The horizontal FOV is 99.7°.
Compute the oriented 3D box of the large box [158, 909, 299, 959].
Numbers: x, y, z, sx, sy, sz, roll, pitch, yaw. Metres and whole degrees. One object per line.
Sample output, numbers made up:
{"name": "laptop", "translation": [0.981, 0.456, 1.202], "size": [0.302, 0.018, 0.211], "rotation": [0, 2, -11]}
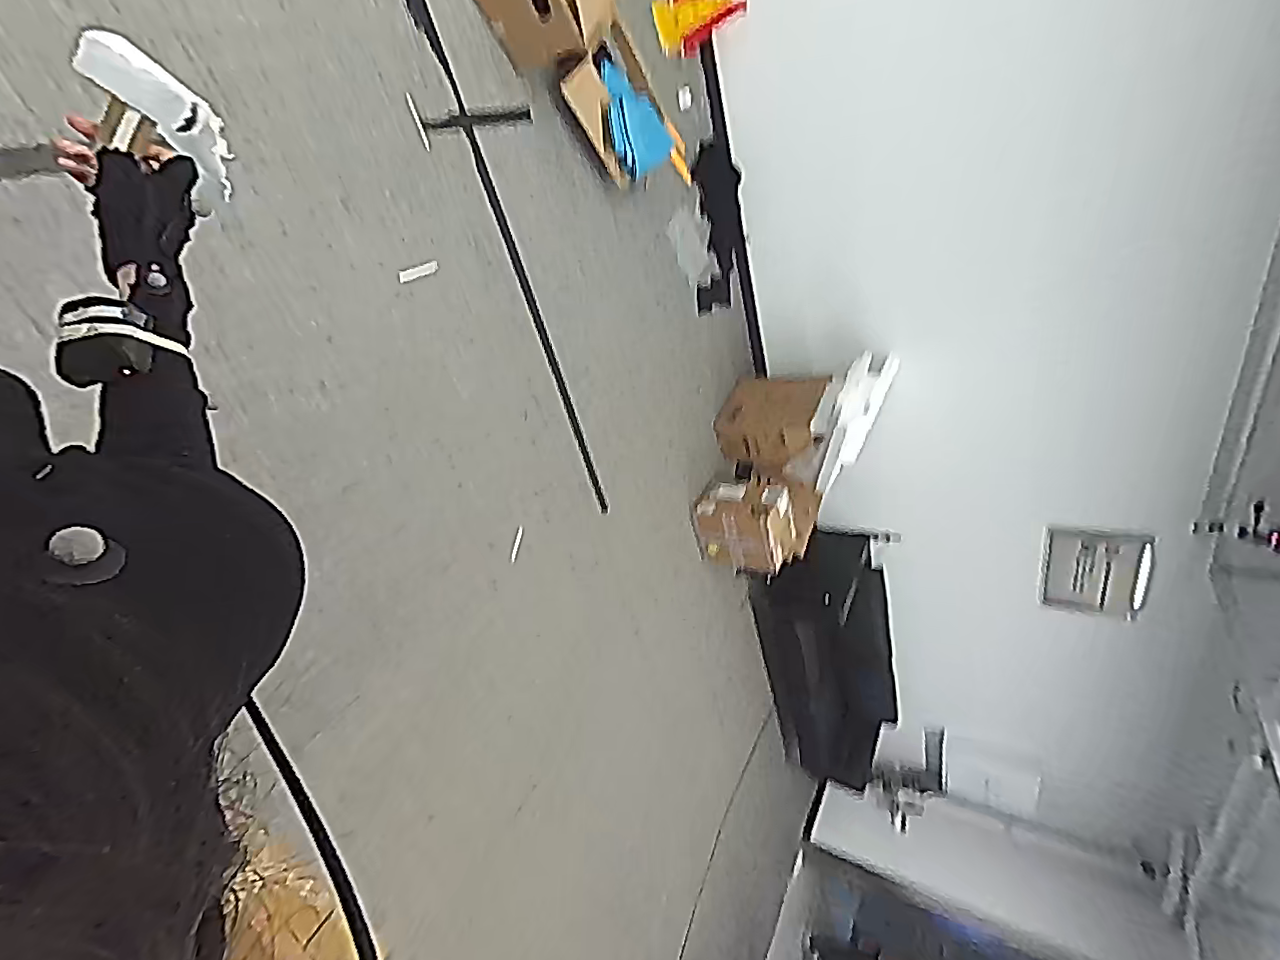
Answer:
{"name": "large box", "translation": [-0.587, 0.888, 0.684], "size": [0.408, 0.320, 0.320], "rotation": [-49, 131, -42]}
